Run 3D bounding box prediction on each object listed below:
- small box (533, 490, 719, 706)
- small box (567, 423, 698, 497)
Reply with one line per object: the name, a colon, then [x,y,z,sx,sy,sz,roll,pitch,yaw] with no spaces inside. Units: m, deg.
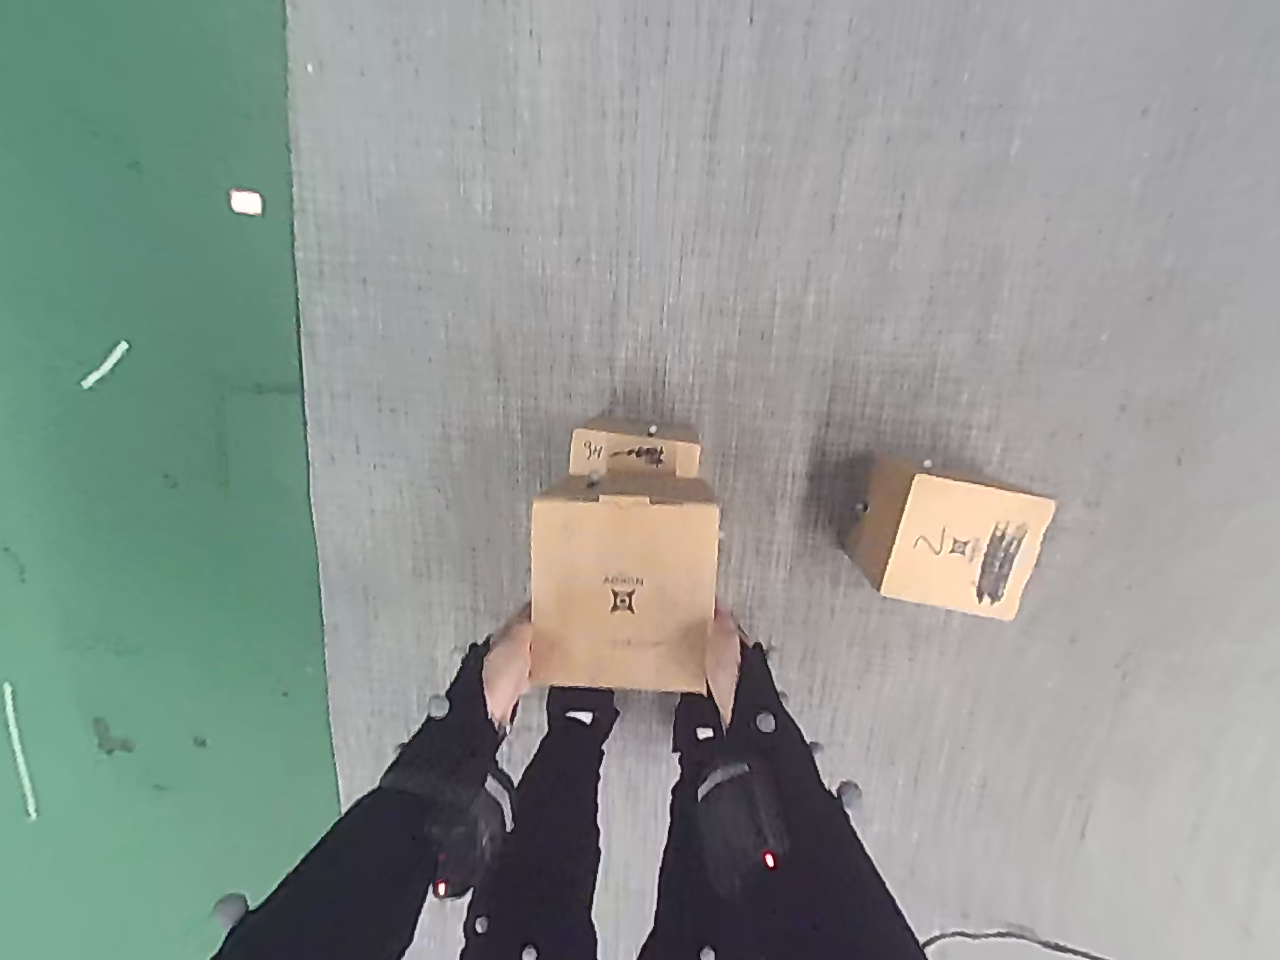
small box: [-0.011,0.107,0.561,0.168,0.176,0.179,1,99,3]
small box: [-0.008,0.023,0.782,0.168,0.176,0.179,8,103,3]
